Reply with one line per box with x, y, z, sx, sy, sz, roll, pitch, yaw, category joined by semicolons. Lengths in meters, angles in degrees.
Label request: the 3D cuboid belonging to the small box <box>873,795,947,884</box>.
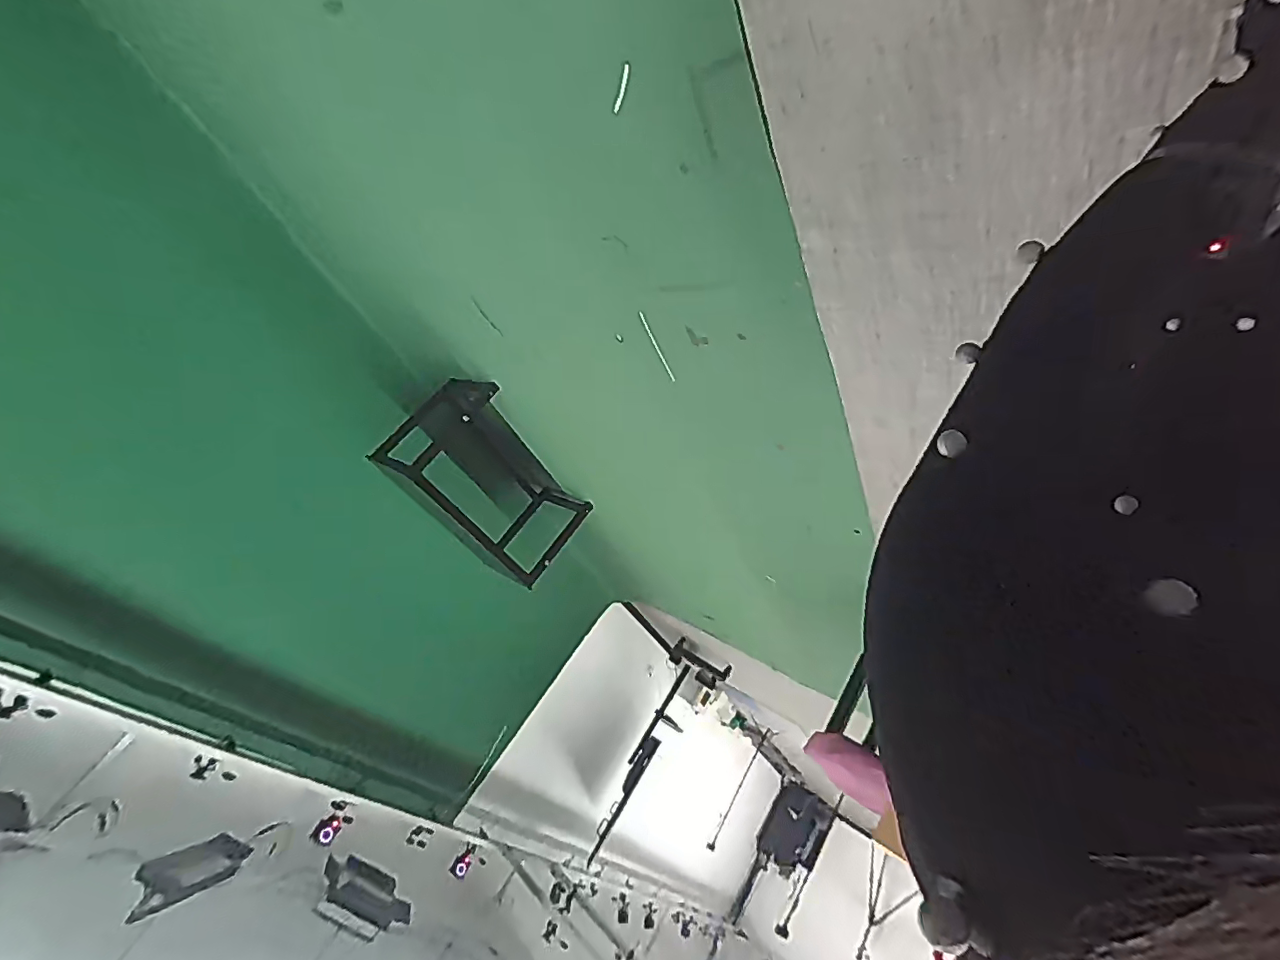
0.898;1.185;1.788;0.168;0.176;0.179;16;150;42;small box
